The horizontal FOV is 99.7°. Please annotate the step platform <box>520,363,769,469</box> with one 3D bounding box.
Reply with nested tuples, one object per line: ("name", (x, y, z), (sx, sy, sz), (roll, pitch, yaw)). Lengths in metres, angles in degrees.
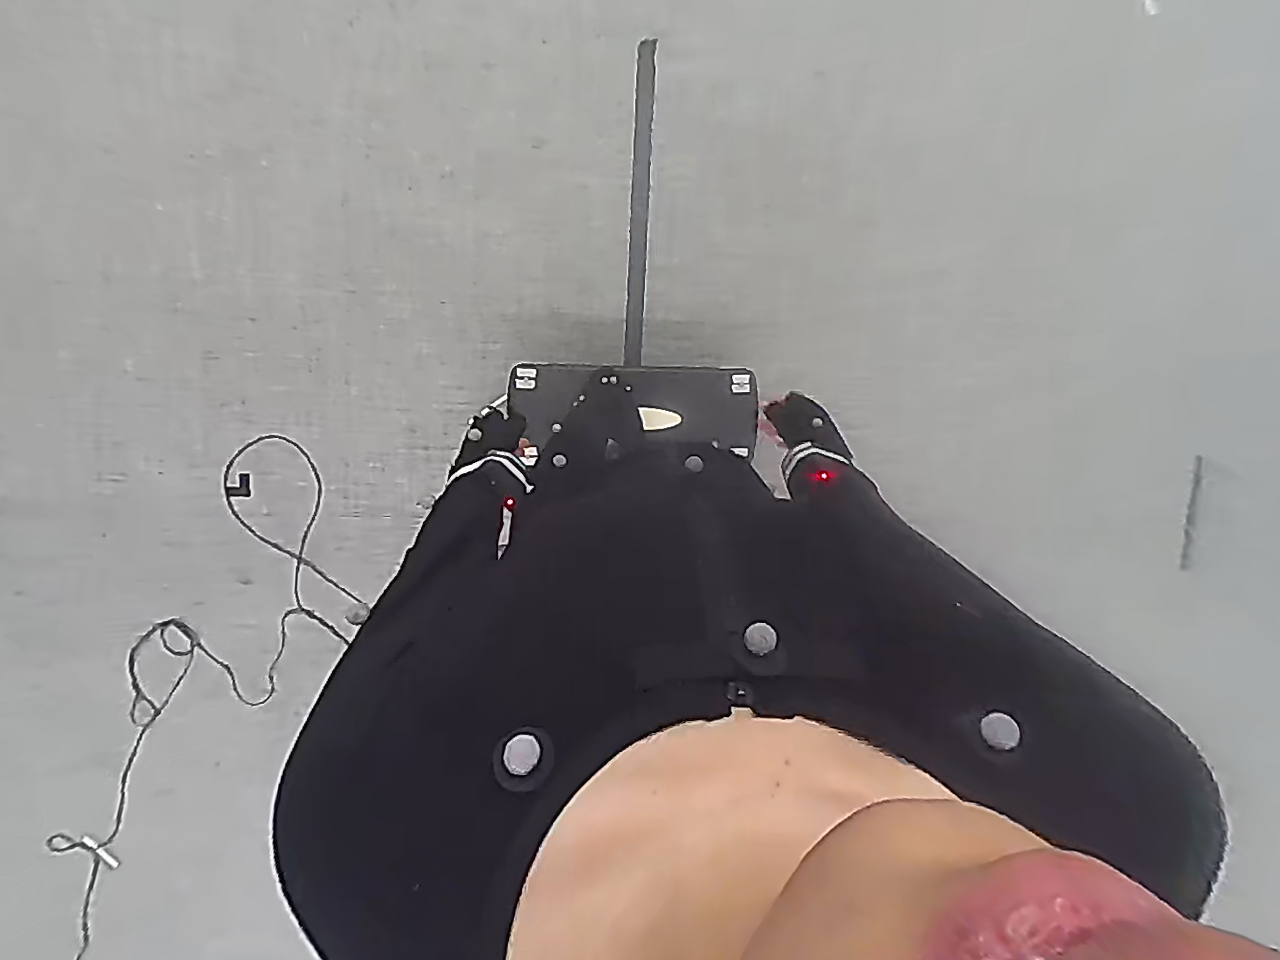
("step platform", (0.011, -0.179, 1.517), (0.684, 0.204, 0.286), (0, 98, -4))
